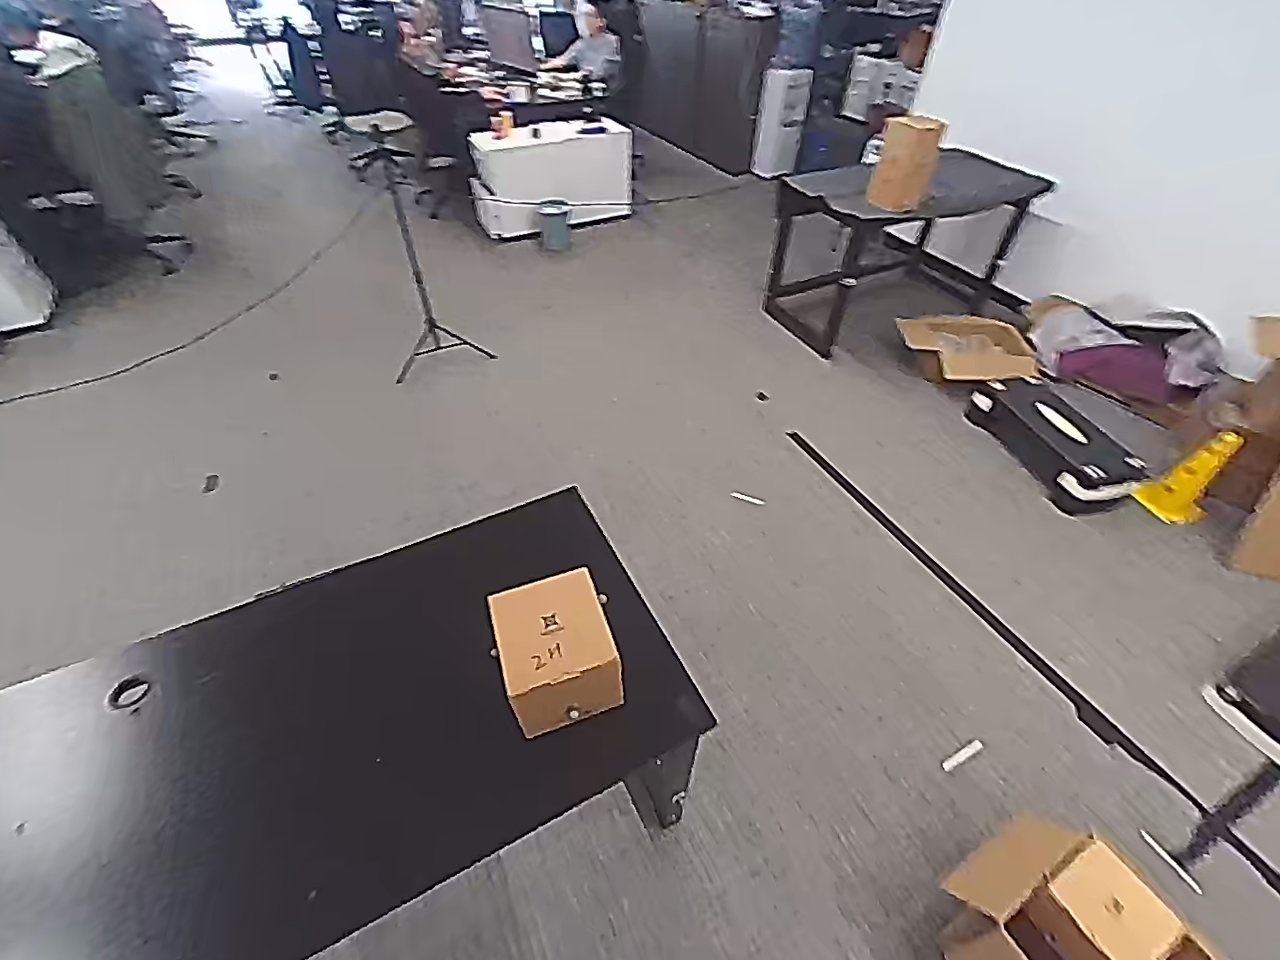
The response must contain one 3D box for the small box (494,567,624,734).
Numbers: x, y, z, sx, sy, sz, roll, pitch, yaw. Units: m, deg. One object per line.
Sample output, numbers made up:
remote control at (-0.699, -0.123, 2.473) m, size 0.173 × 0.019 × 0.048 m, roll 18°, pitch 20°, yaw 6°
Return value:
small box at (-0.129, 0.276, 0.875) m, size 0.168 × 0.176 × 0.179 m, roll -15°, pitch 48°, yaw -13°
